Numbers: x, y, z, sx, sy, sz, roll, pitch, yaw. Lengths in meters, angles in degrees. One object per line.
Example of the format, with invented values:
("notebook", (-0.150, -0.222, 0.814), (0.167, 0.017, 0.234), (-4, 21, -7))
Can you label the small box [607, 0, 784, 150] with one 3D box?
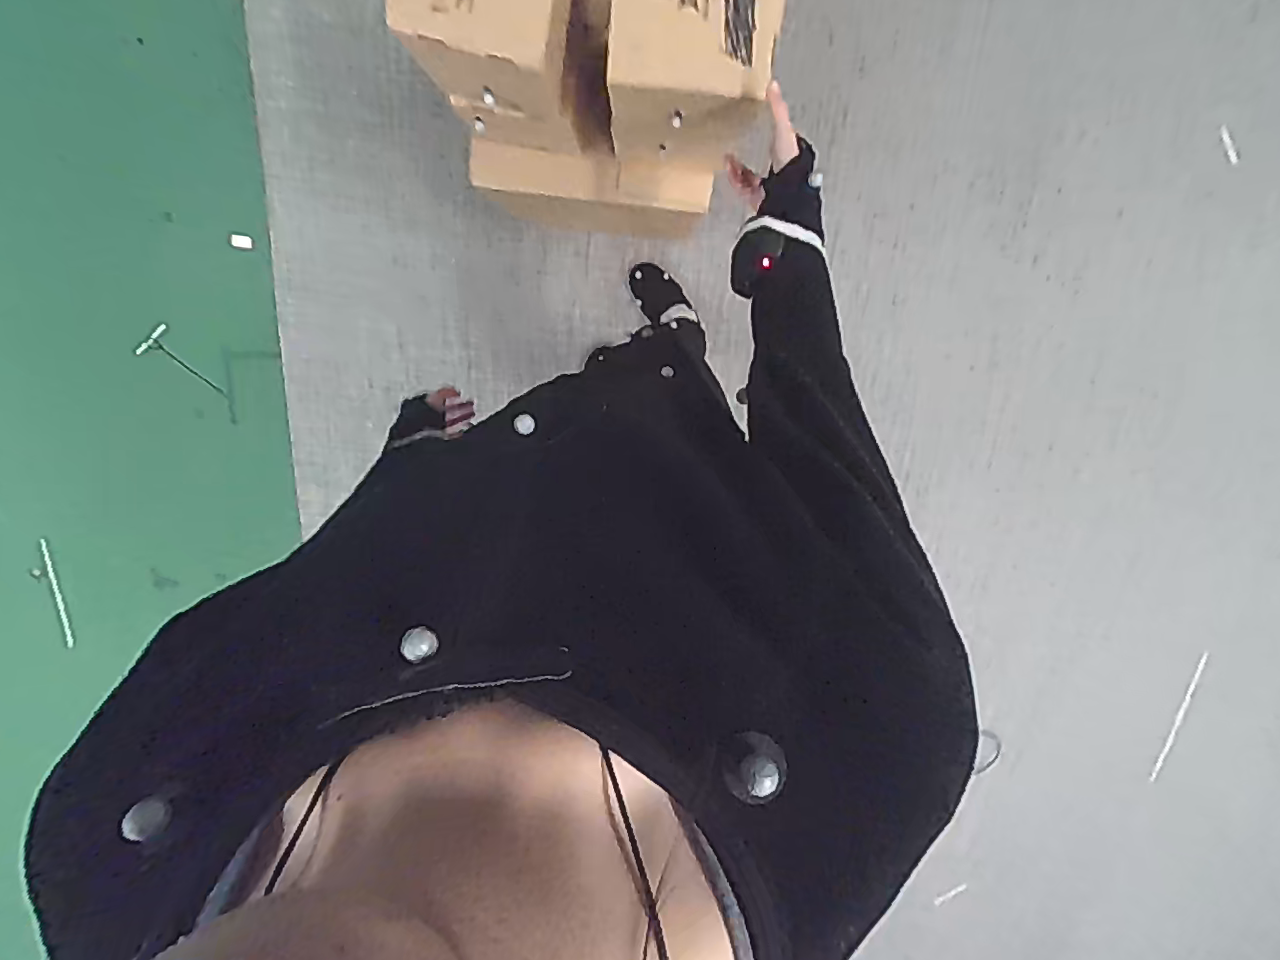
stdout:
("small box", (0.061, -0.509, 0.637), (0.179, 0.176, 0.168), (7, 107, 0))
